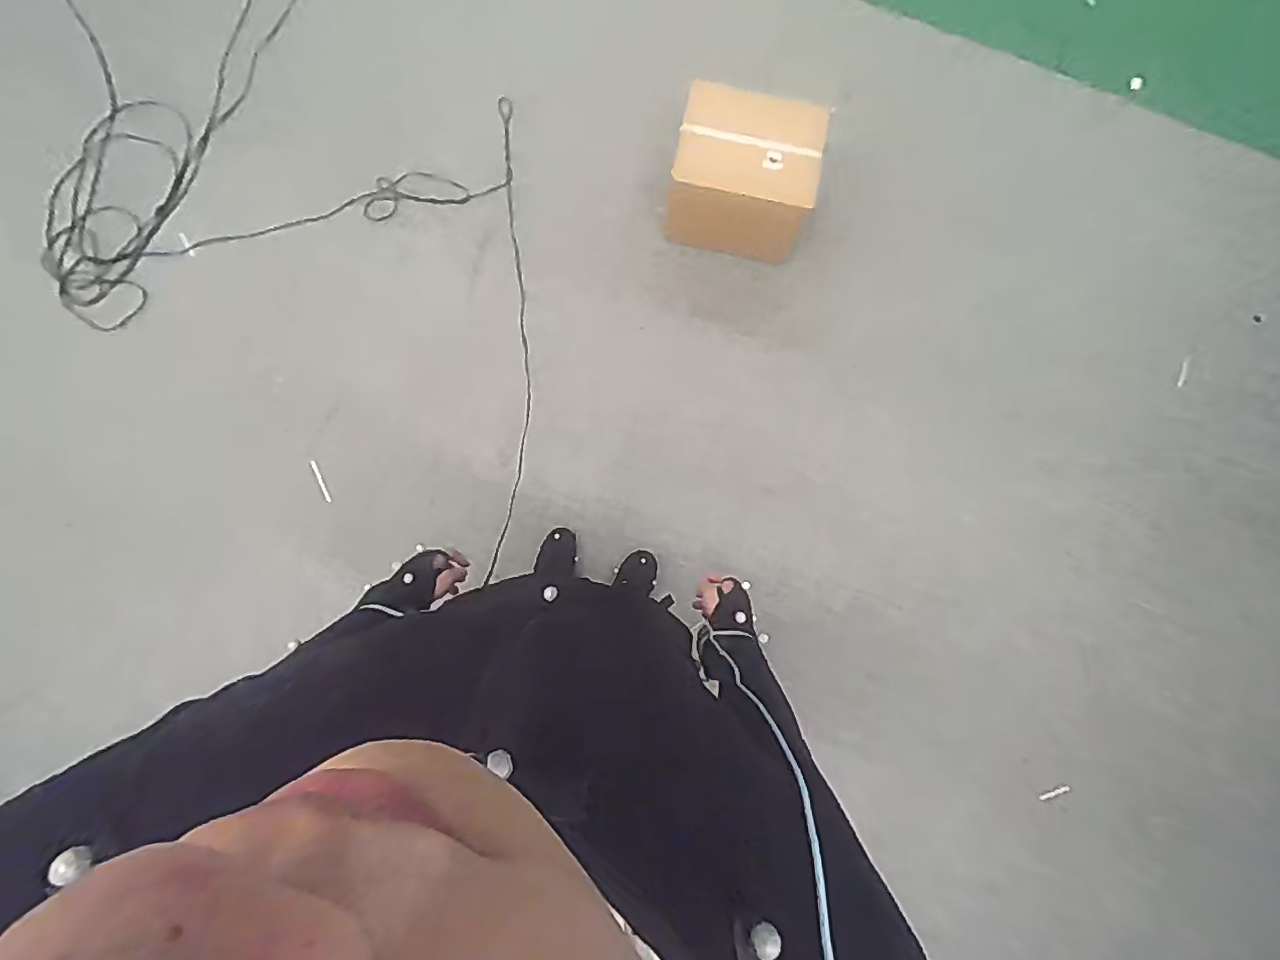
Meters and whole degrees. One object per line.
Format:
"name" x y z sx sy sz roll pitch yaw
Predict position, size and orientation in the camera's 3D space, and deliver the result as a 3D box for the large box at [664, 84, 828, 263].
"large box" 0.302 -0.912 1.647 0.408 0.320 0.320 12 83 -1
